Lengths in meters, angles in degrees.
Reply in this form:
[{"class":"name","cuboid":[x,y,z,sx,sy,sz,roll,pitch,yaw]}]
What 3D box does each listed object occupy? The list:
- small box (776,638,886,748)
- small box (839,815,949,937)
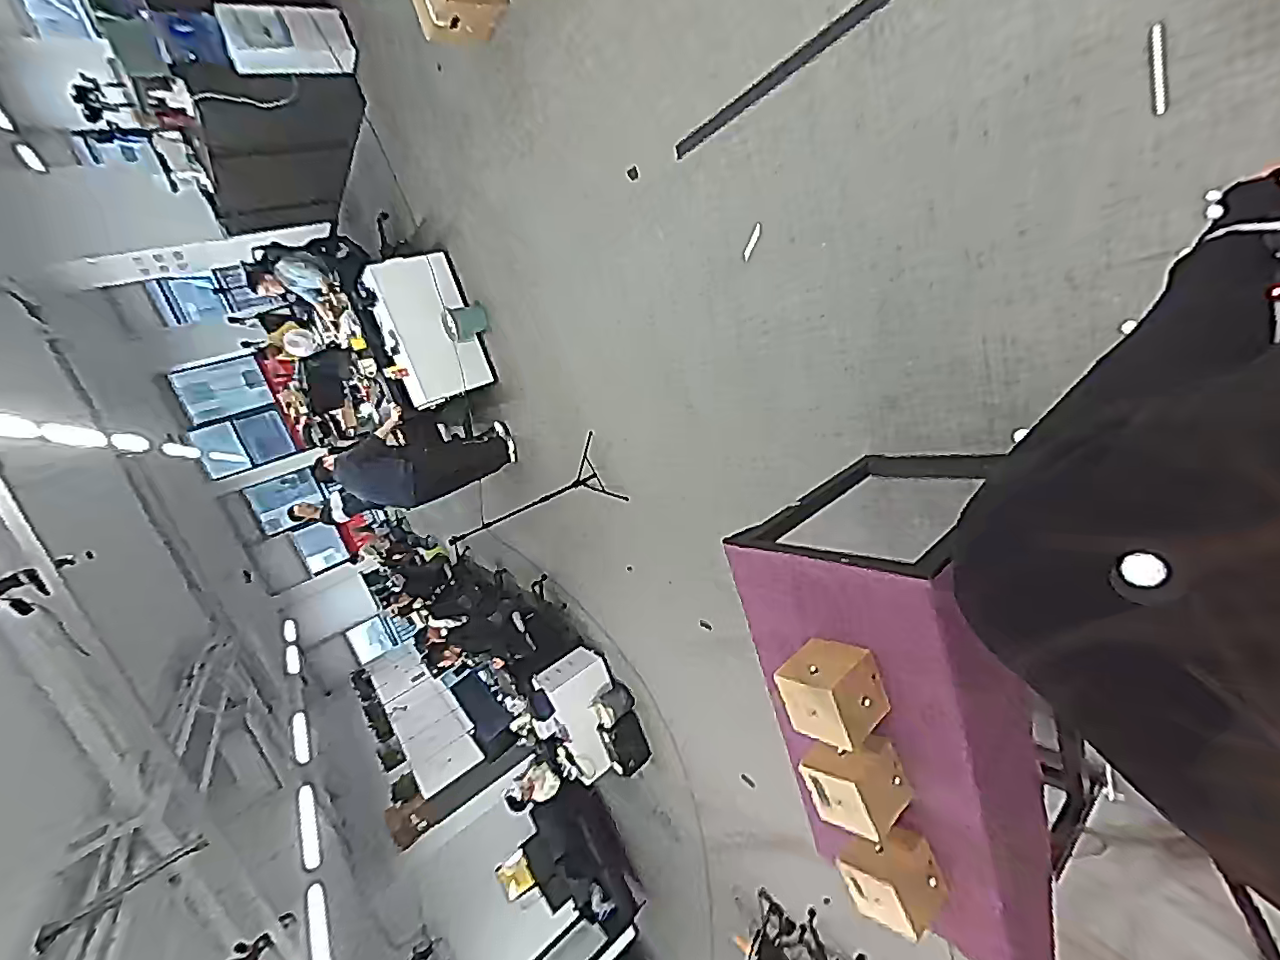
[{"class":"small box","cuboid":[0.473,0.509,1.323,0.179,0.176,0.168,-7,107,58]},{"class":"small box","cuboid":[0.674,1.034,1.434,0.179,0.176,0.168,-22,95,59]}]
